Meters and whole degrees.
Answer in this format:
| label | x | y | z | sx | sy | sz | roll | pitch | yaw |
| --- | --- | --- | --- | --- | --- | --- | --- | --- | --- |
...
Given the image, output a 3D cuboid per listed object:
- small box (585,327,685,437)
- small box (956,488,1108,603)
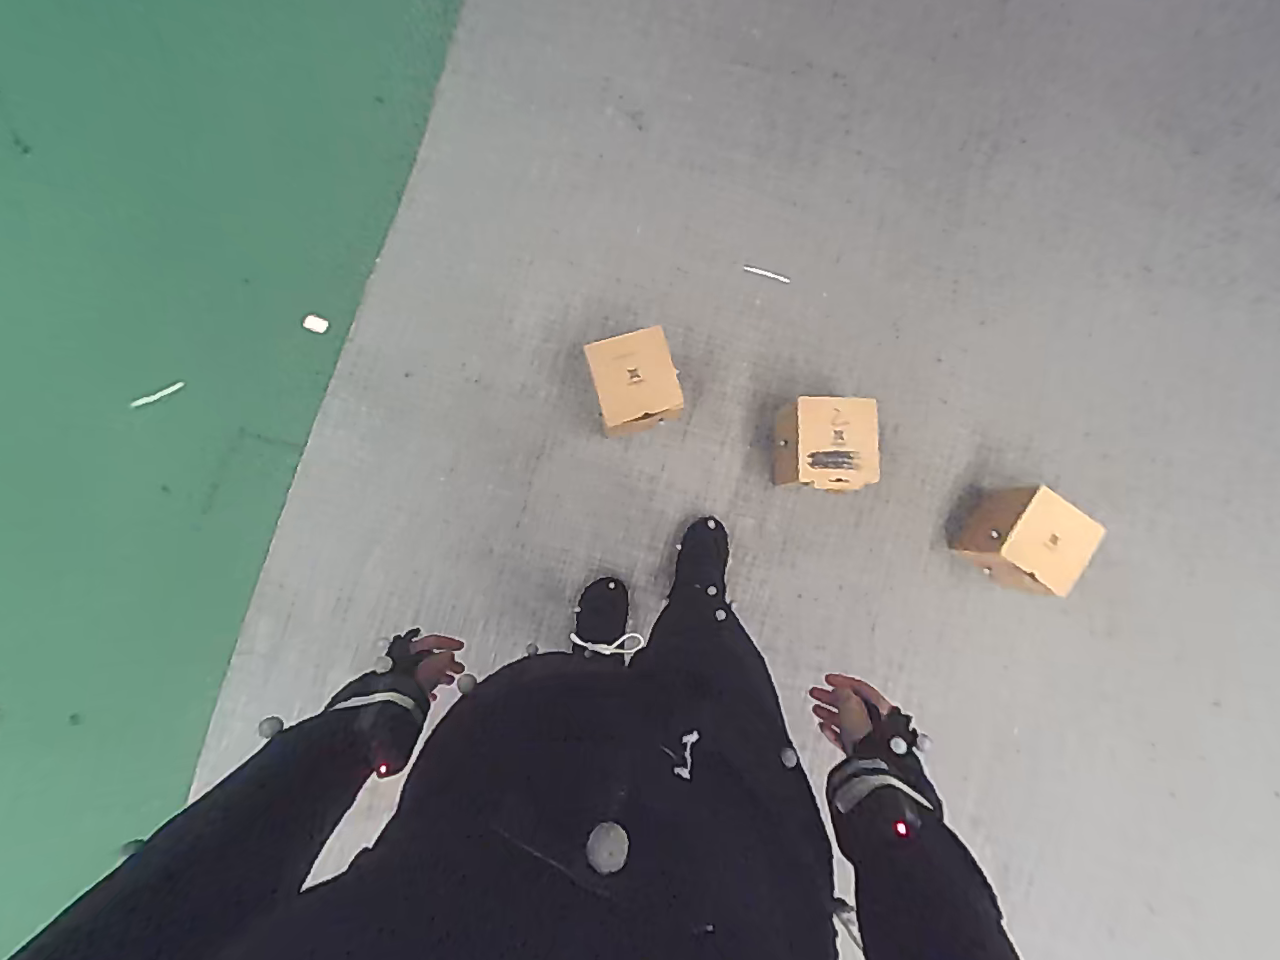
| label | x | y | z | sx | sy | sz | roll | pitch | yaw |
| --- | --- | --- | --- | --- | --- | --- | --- | --- | --- |
| small box | -0.013 | -0.197 | 1.155 | 0.168 | 0.176 | 0.179 | -17 | 85 | -5 |
| small box | 0.832 | 0.137 | 1.167 | 0.168 | 0.176 | 0.179 | 35 | 85 | 0 |
